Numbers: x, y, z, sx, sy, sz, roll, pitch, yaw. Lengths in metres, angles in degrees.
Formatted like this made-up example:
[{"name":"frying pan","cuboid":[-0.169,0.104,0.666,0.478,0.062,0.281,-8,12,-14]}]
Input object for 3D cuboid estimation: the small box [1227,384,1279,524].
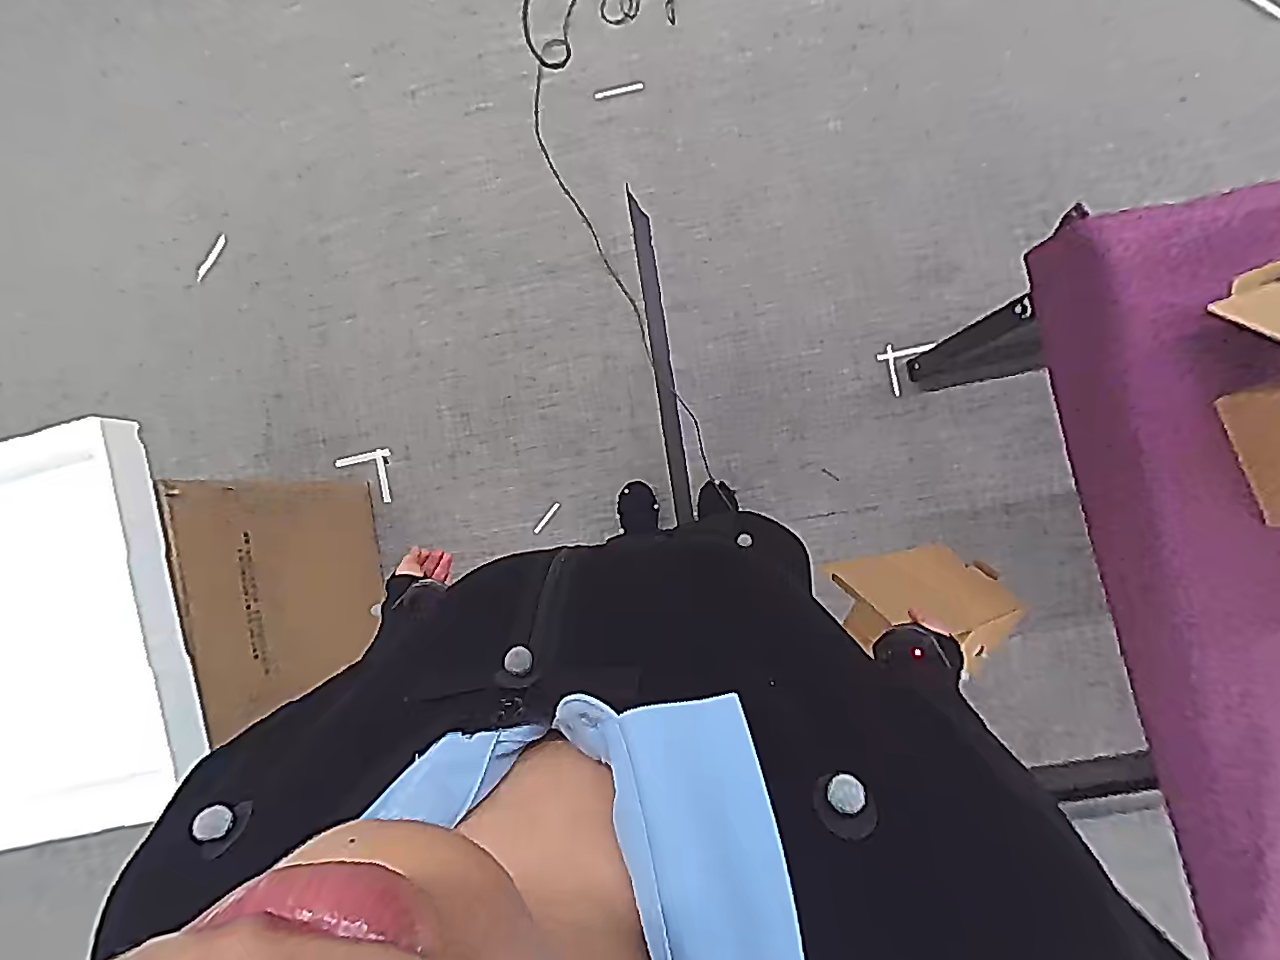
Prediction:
[{"name":"small box","cuboid":[0.823,-0.045,0.590,0.168,0.176,0.179,-20,88,6]}]
